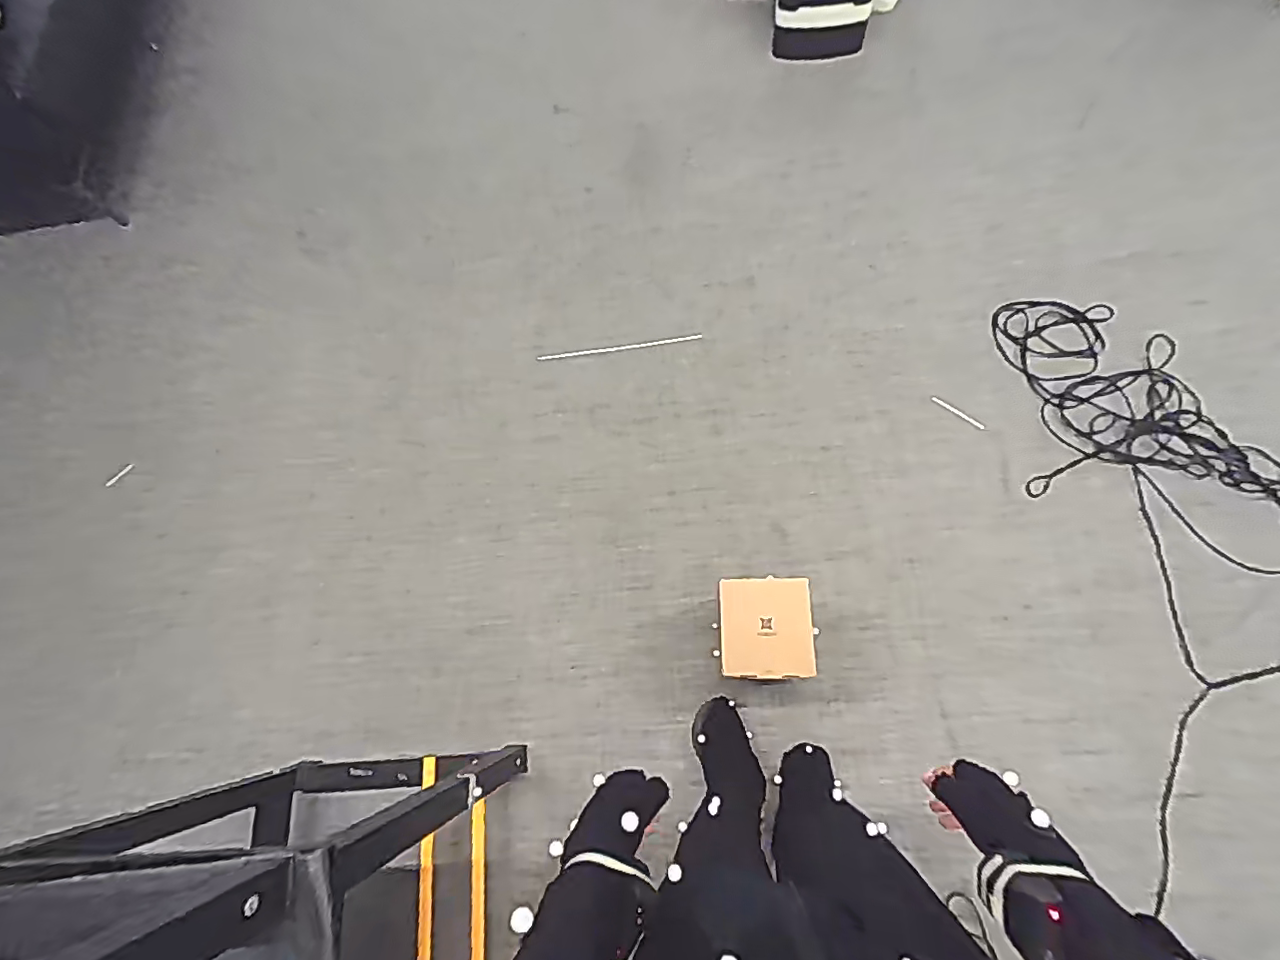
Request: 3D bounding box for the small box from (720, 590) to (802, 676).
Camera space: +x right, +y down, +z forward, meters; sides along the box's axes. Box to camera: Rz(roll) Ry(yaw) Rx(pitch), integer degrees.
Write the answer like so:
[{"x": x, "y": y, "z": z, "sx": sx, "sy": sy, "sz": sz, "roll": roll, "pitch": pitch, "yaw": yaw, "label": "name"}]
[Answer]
[{"x": 0.264, "y": 0.346, "z": 1.216, "sx": 0.168, "sy": 0.176, "sz": 0.179, "roll": -2, "pitch": 72, "yaw": 9, "label": "small box"}]
